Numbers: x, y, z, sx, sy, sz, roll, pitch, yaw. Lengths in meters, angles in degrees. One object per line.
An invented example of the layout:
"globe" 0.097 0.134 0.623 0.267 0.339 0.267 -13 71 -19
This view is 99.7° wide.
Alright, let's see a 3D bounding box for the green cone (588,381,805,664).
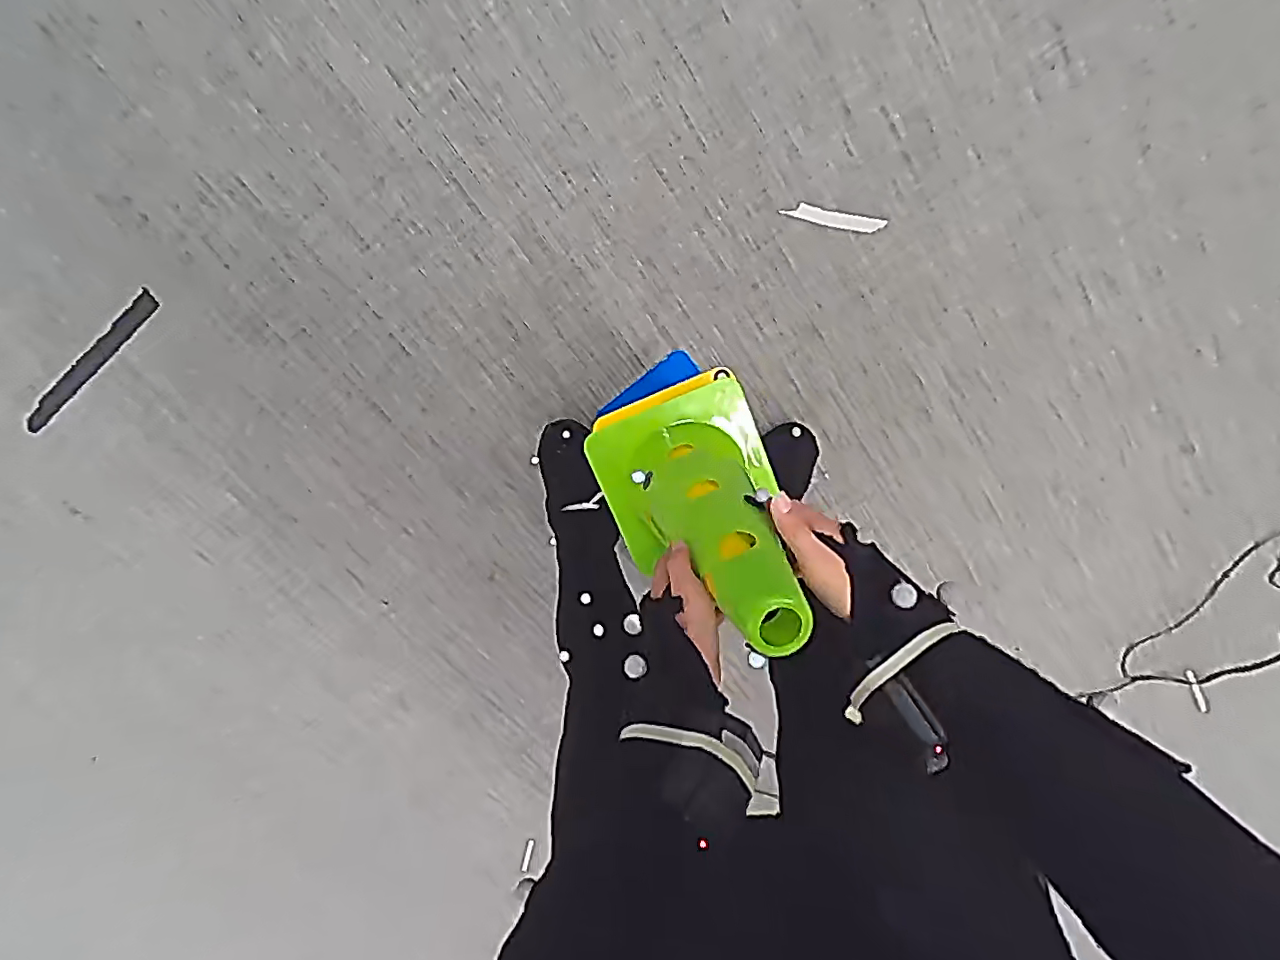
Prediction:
"green cone" 0.071 0.042 0.481 0.202 0.368 0.200 -23 103 3
